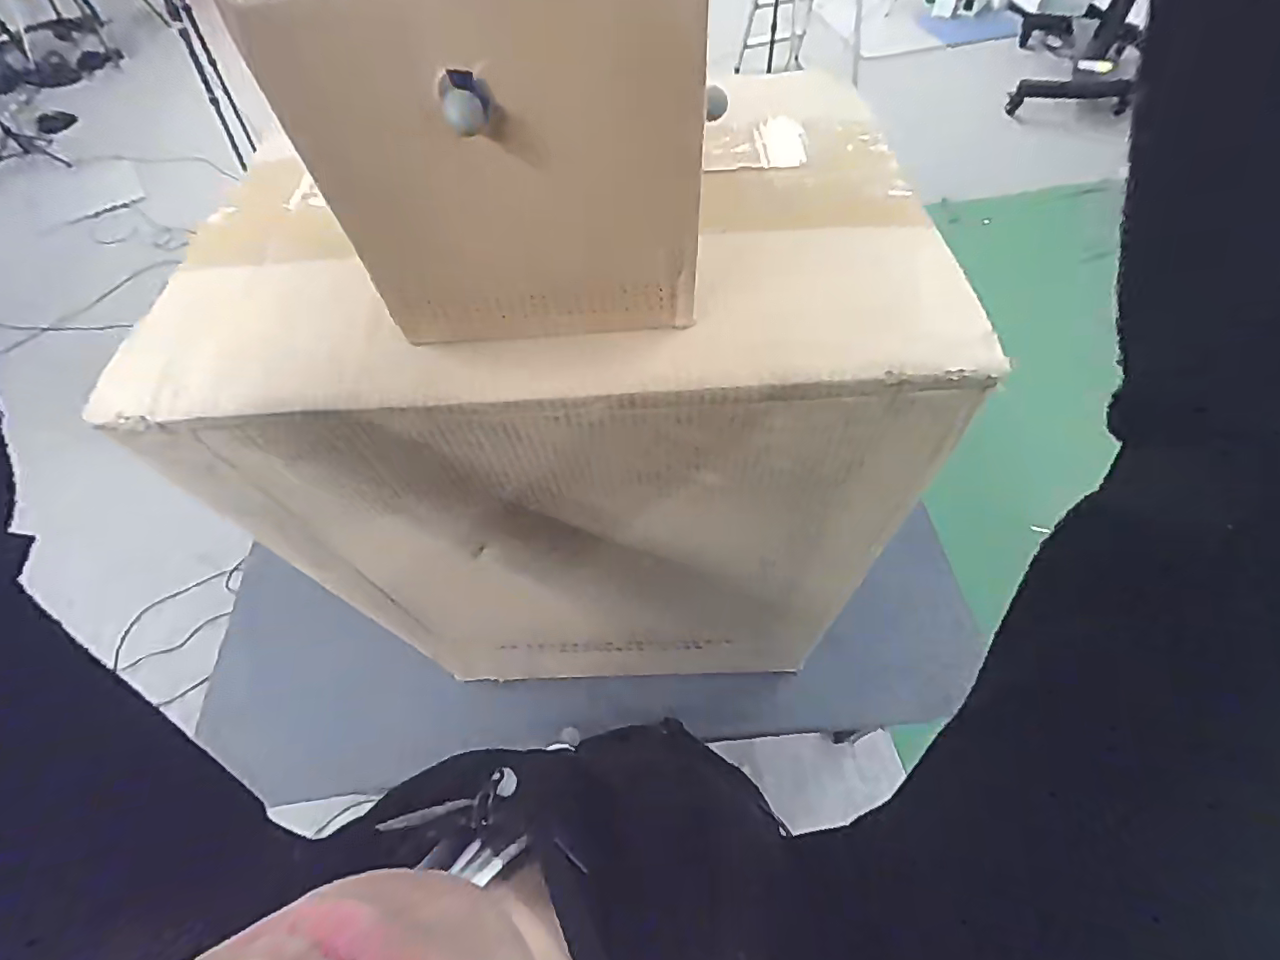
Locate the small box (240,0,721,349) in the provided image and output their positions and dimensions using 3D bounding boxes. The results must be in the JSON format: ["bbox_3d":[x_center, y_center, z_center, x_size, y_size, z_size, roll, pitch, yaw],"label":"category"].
[{"bbox_3d":[-0.056,-0.191,0.300,0.179,0.176,0.168,-3,59,2],"label":"small box"}]
